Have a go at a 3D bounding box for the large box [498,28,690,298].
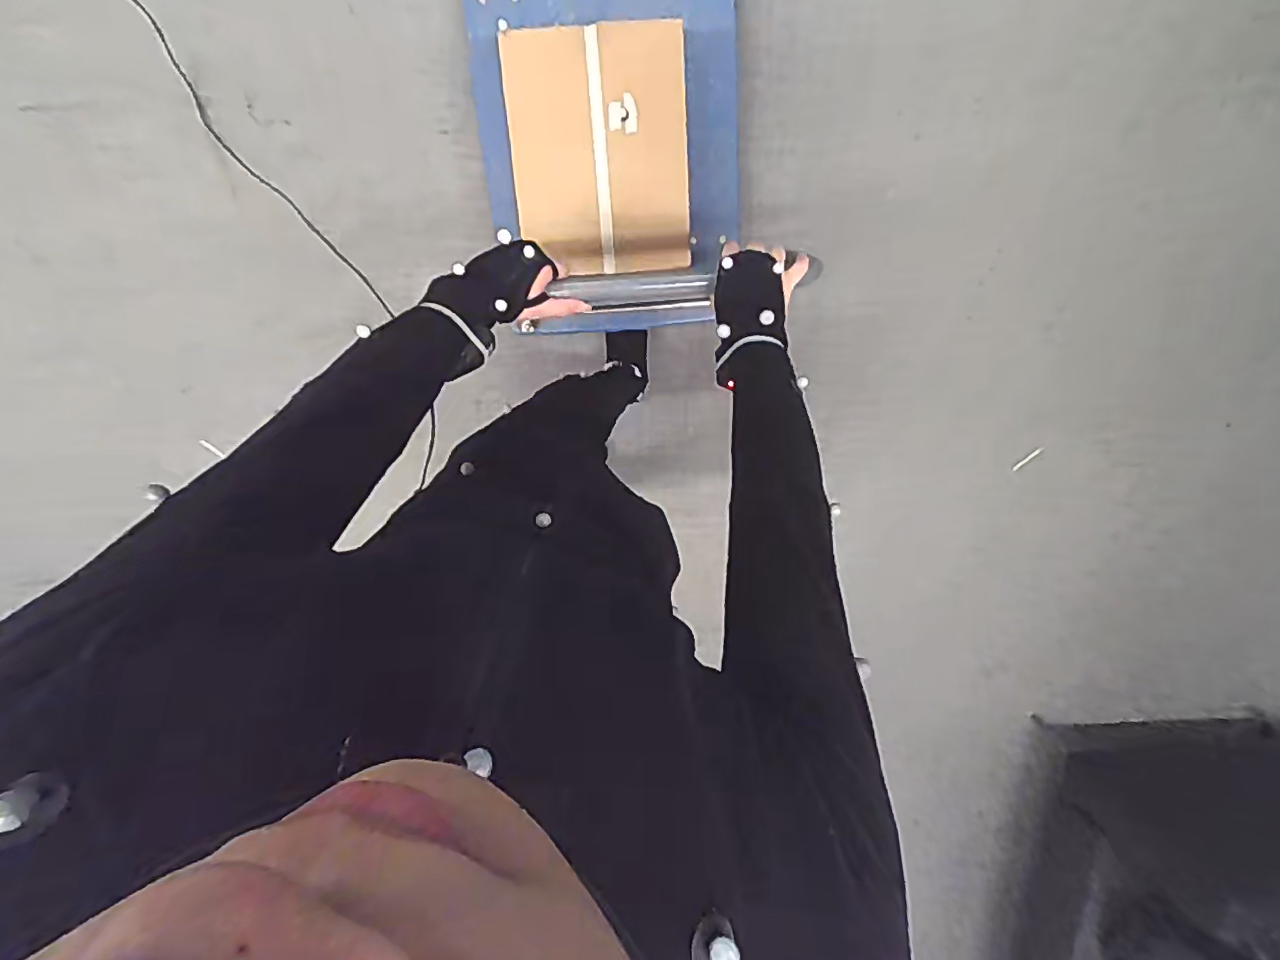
[{"bbox_3d":[-0.078,-0.604,1.112,0.320,0.320,0.408,-5,106,-2],"label":"large box"}]
